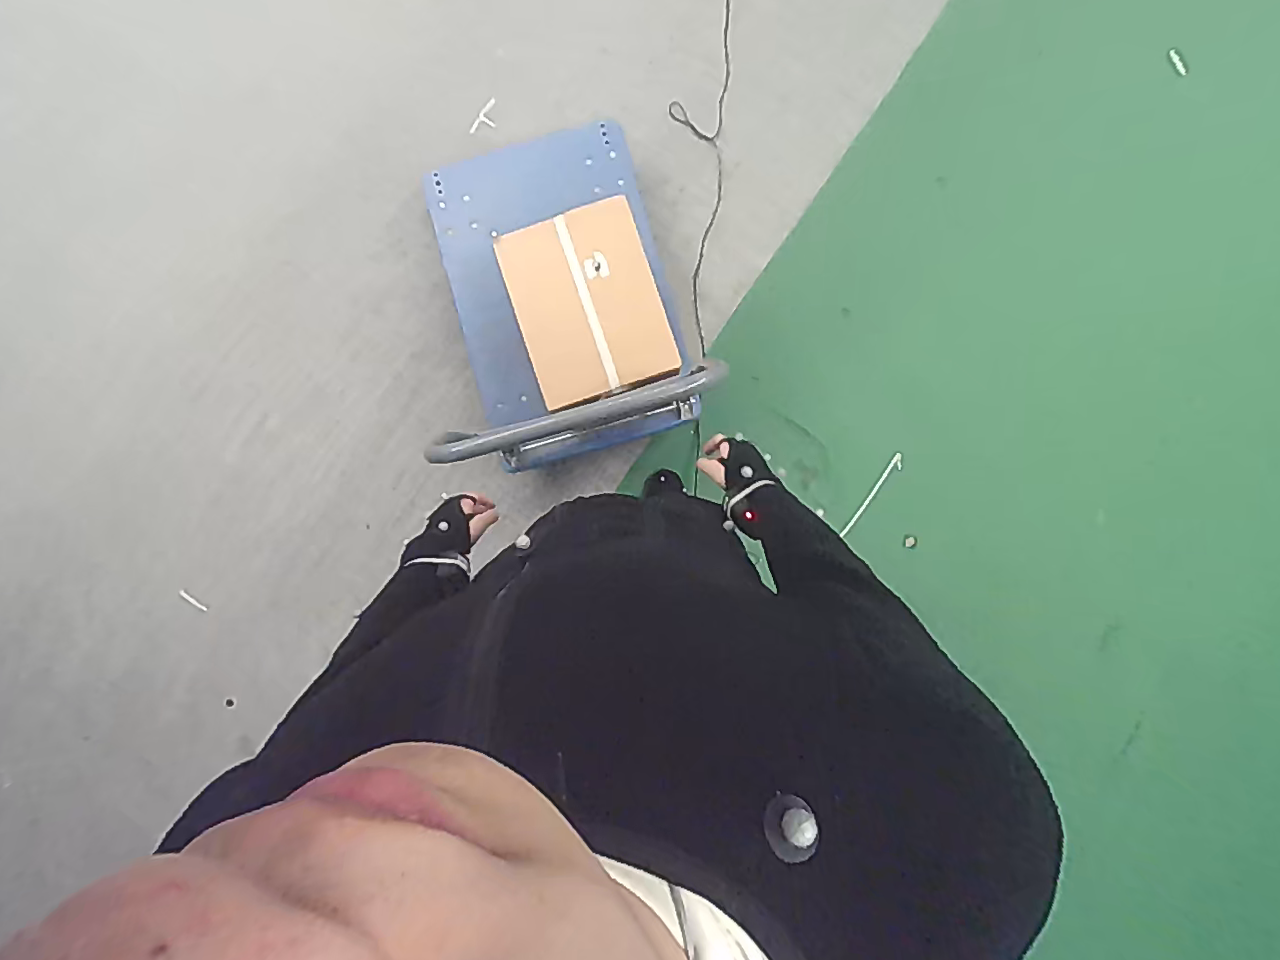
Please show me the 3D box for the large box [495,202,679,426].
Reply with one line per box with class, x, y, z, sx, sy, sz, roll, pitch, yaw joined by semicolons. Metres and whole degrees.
large box;-0.116;-0.385;1.353;0.320;0.320;0.408;-18;88;0
